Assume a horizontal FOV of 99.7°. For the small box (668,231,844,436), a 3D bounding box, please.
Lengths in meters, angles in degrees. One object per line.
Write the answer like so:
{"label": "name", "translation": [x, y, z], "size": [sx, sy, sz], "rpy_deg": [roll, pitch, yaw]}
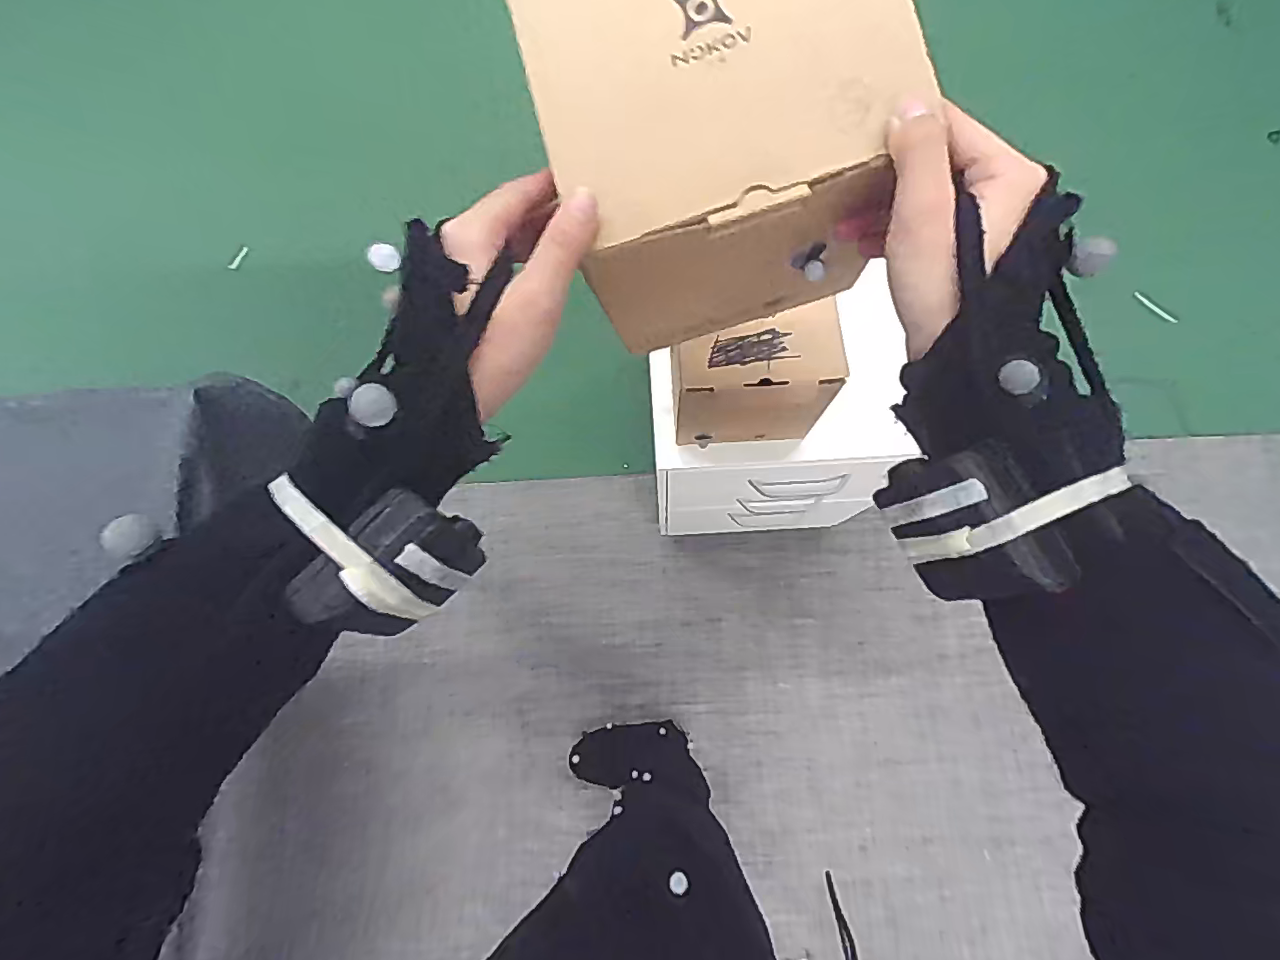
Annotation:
{"label": "small box", "translation": [0.119, -0.155, 0.626], "size": [0.168, 0.176, 0.179], "rpy_deg": [-3, 75, 1]}
